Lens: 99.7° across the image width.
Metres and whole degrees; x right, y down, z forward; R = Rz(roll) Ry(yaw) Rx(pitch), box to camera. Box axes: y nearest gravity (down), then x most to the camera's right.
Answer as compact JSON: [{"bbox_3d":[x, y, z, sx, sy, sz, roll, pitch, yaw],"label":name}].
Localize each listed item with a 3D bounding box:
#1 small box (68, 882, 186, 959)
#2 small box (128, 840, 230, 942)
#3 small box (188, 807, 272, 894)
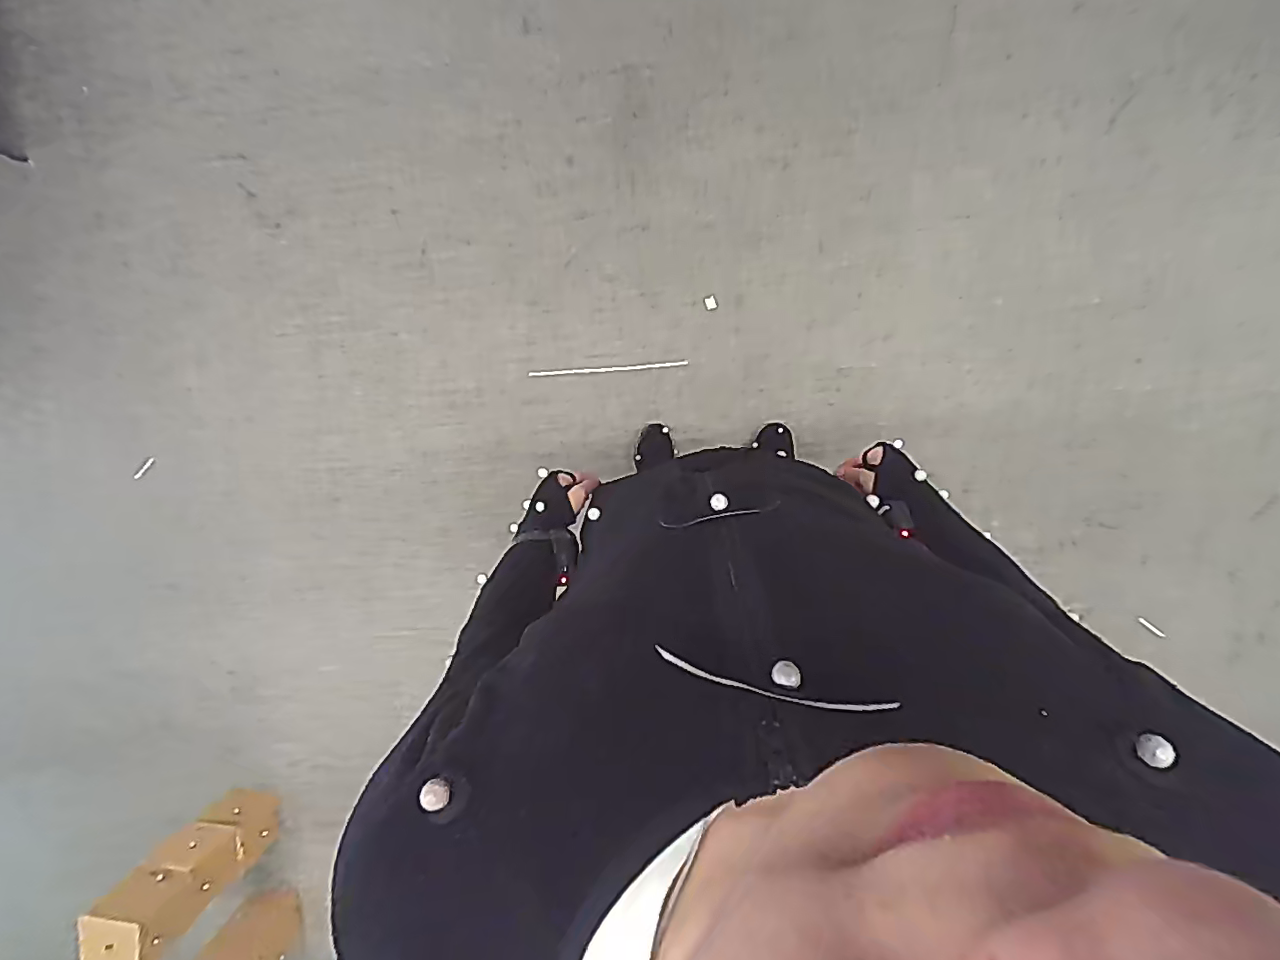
[{"bbox_3d":[-1.365,1.235,1.448,0.168,0.176,0.179,7,96,3],"label":"small box"},{"bbox_3d":[-1.363,1.213,1.609,0.168,0.176,0.179,3,96,4],"label":"small box"},{"bbox_3d":[-1.344,1.207,1.771,0.179,0.176,0.168,4,95,3],"label":"small box"}]
